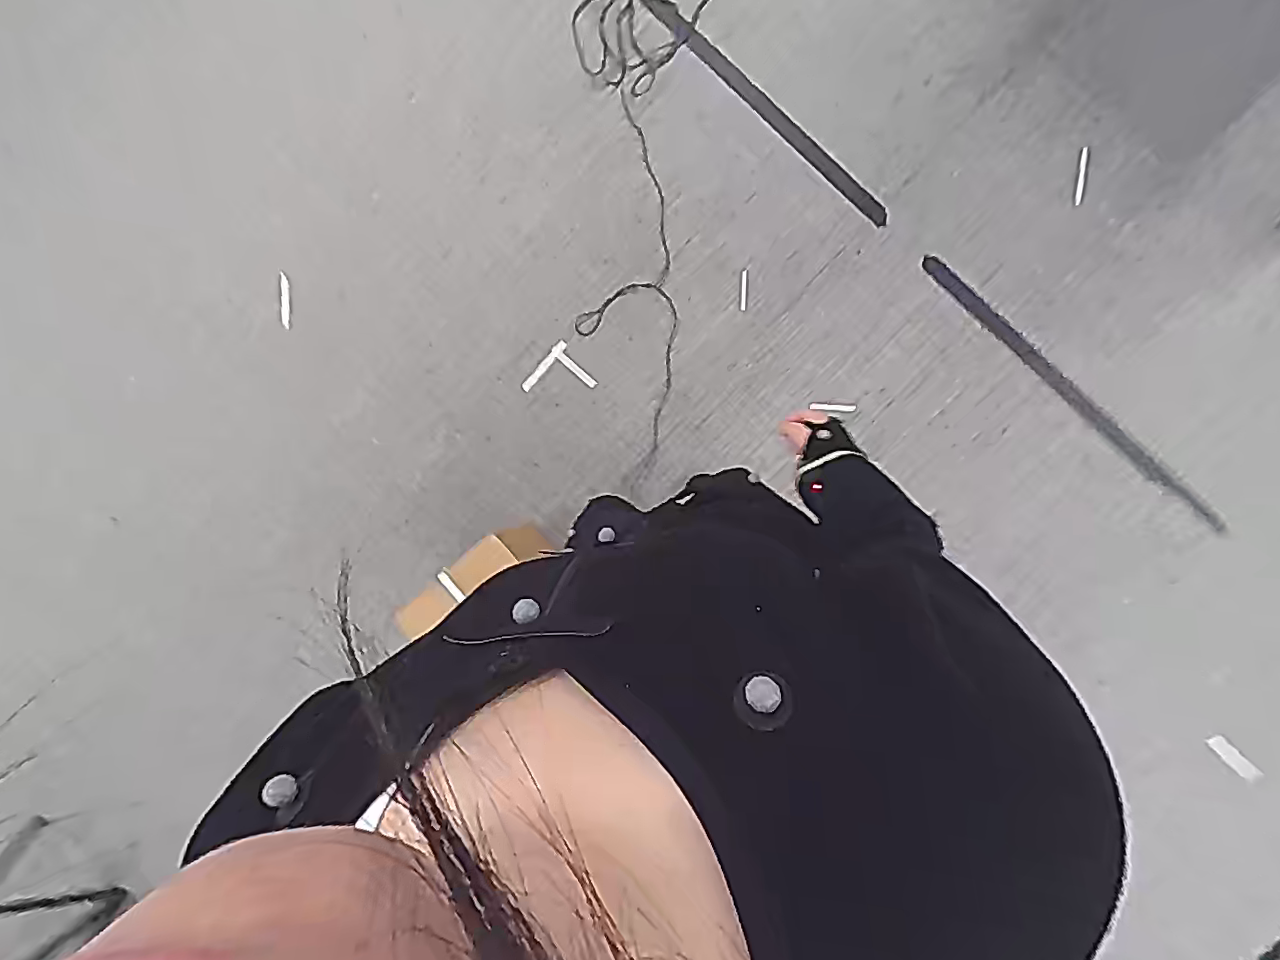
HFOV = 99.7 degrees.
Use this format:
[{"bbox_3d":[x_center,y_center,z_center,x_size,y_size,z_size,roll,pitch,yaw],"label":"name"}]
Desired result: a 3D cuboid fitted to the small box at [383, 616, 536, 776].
[{"bbox_3d":[-0.306,0.369,0.965,0.179,0.176,0.168,-42,87,3],"label":"small box"}]
